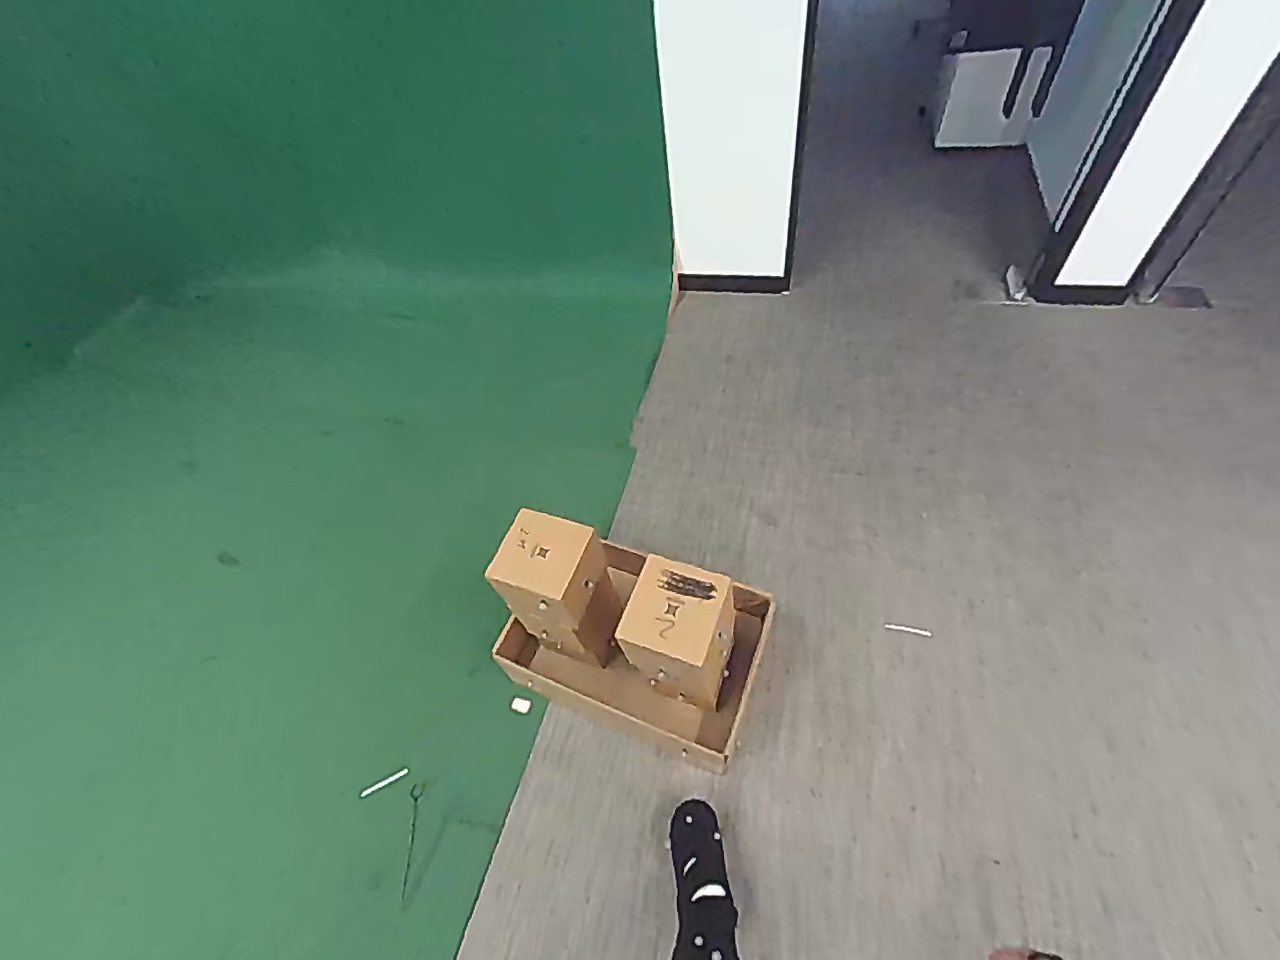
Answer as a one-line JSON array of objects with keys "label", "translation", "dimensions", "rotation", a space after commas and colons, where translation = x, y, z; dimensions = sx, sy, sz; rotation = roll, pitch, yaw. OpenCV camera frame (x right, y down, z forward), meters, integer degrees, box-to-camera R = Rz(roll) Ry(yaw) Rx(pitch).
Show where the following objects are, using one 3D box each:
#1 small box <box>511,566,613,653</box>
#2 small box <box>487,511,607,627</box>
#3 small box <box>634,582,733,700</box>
[{"label": "small box", "translation": [-0.174, 0.282, 1.285], "dimensions": [0.168, 0.176, 0.179], "rotation": [15, 59, 19]}, {"label": "small box", "translation": [-0.184, 0.194, 1.146], "dimensions": [0.179, 0.176, 0.168], "rotation": [14, 58, 18]}, {"label": "small box", "translation": [0.104, 0.356, 1.180], "dimensions": [0.168, 0.176, 0.179], "rotation": [13, 57, 19]}]
